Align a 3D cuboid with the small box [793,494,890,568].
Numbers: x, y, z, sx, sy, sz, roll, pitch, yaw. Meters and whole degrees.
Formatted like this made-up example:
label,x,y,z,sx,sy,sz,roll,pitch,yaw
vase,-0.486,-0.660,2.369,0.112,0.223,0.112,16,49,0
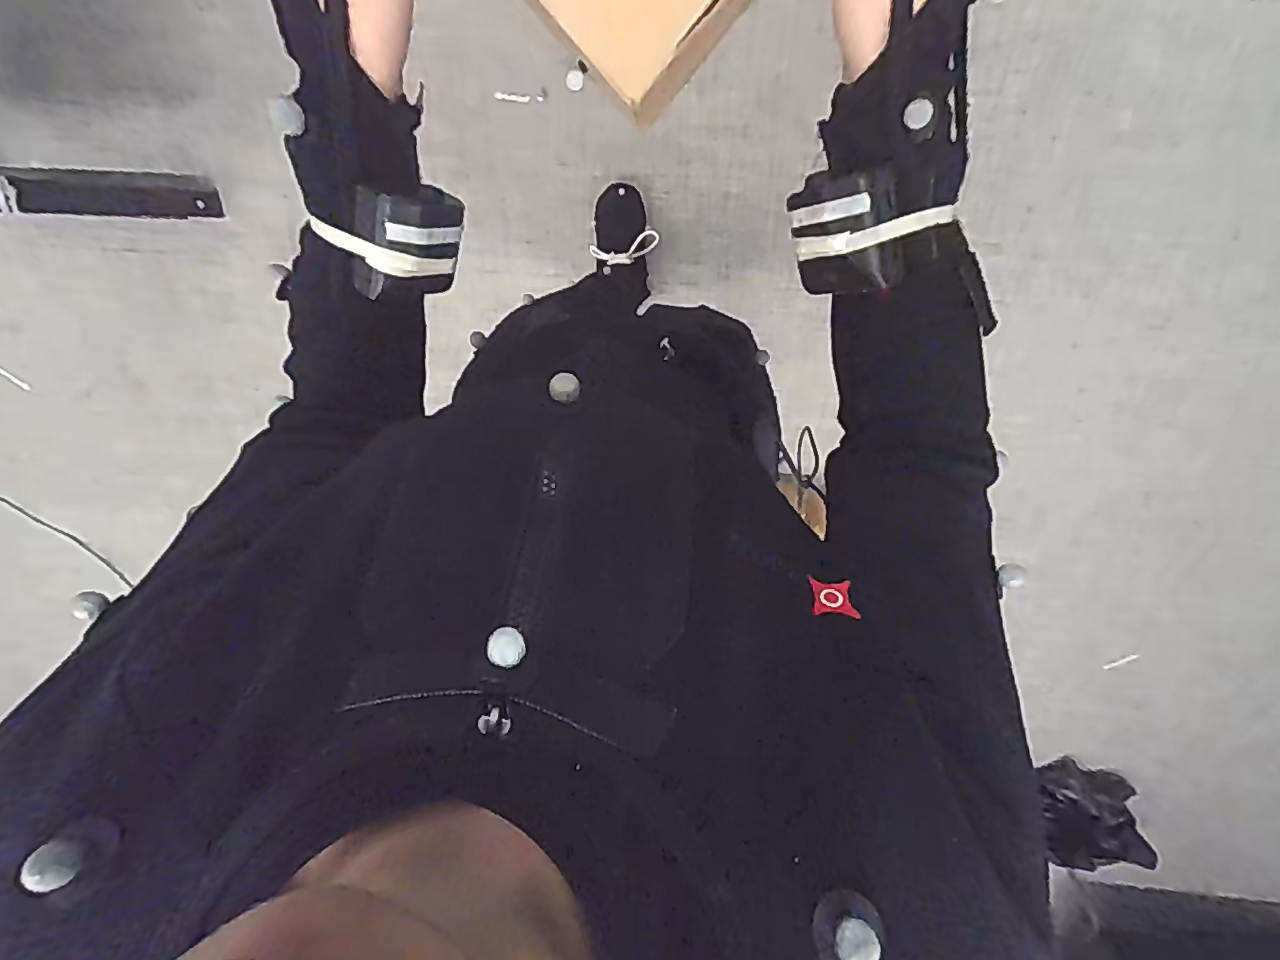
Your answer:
label,x,y,z,sx,sy,sz,roll,pitch,yaw
small box,0.501,0.151,1.374,0.168,0.176,0.179,8,114,0
